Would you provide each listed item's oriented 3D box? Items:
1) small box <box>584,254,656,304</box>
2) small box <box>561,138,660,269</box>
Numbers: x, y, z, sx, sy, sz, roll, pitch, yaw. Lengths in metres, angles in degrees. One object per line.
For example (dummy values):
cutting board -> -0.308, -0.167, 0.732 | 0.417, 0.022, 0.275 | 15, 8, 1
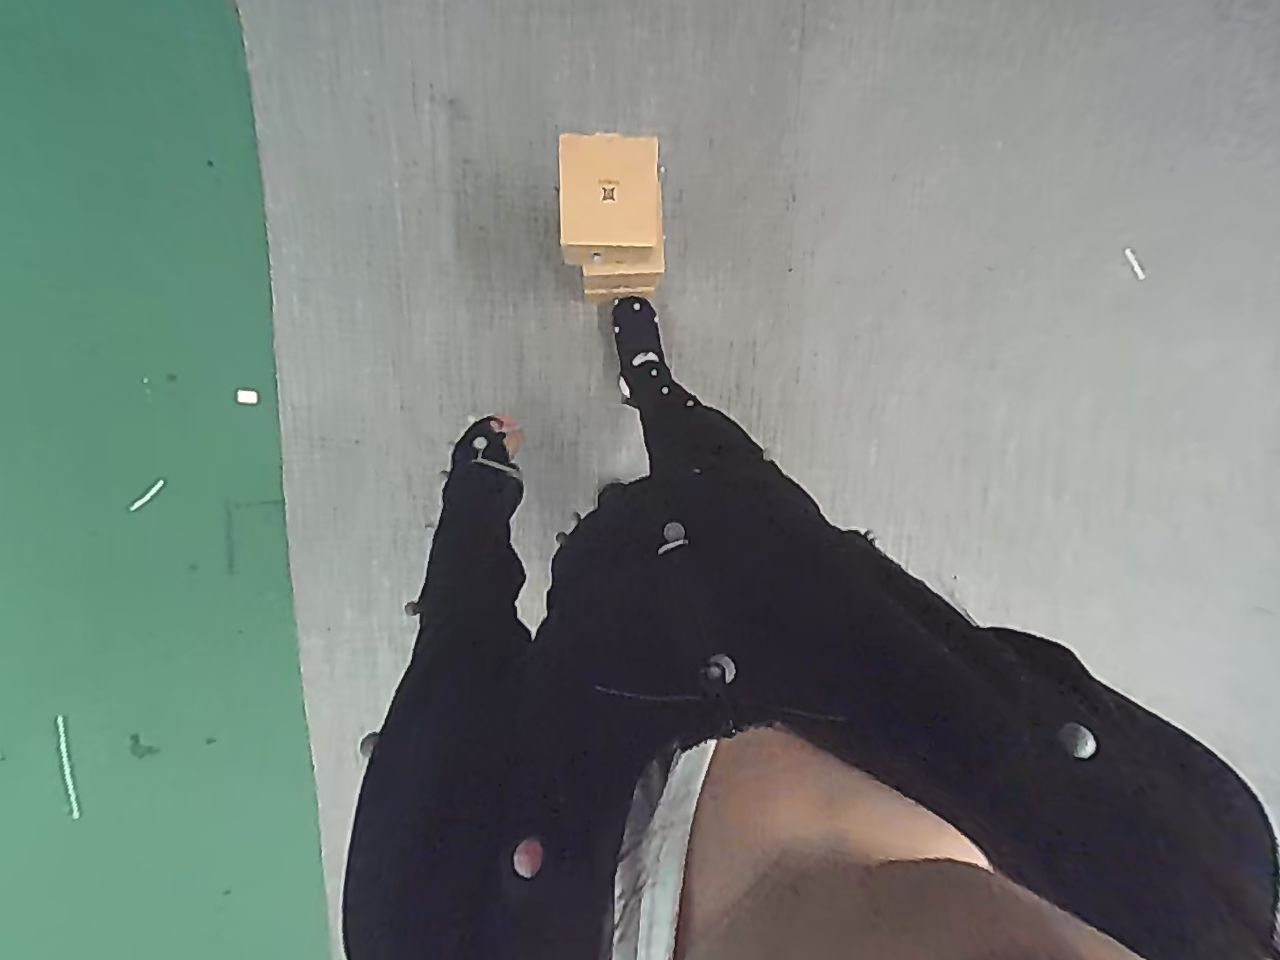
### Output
small box -> -0.052, -0.528, 1.312 | 0.168, 0.176, 0.179 | -4, 100, -3
small box -> -0.053, -0.492, 0.986 | 0.168, 0.176, 0.179 | 0, 100, -3
